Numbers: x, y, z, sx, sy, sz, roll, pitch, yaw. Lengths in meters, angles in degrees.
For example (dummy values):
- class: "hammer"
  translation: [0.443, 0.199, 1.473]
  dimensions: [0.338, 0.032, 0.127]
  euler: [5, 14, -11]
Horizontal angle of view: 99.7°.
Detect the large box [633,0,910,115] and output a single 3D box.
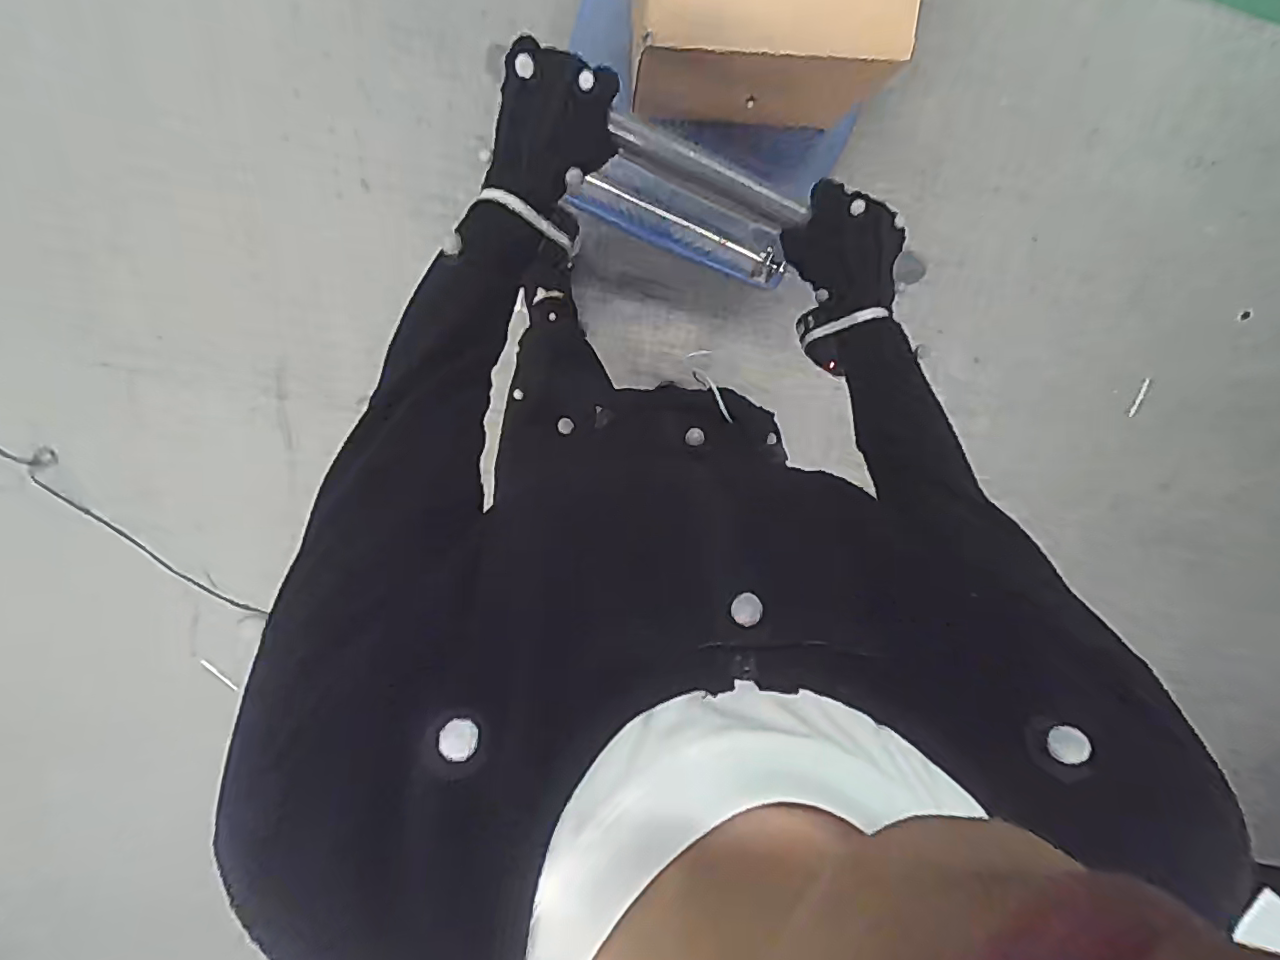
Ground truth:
- class: "large box"
  translation: [0.197, -0.837, 0.904]
  dimensions: [0.408, 0.320, 0.320]
  euler: [0, 107, -3]
